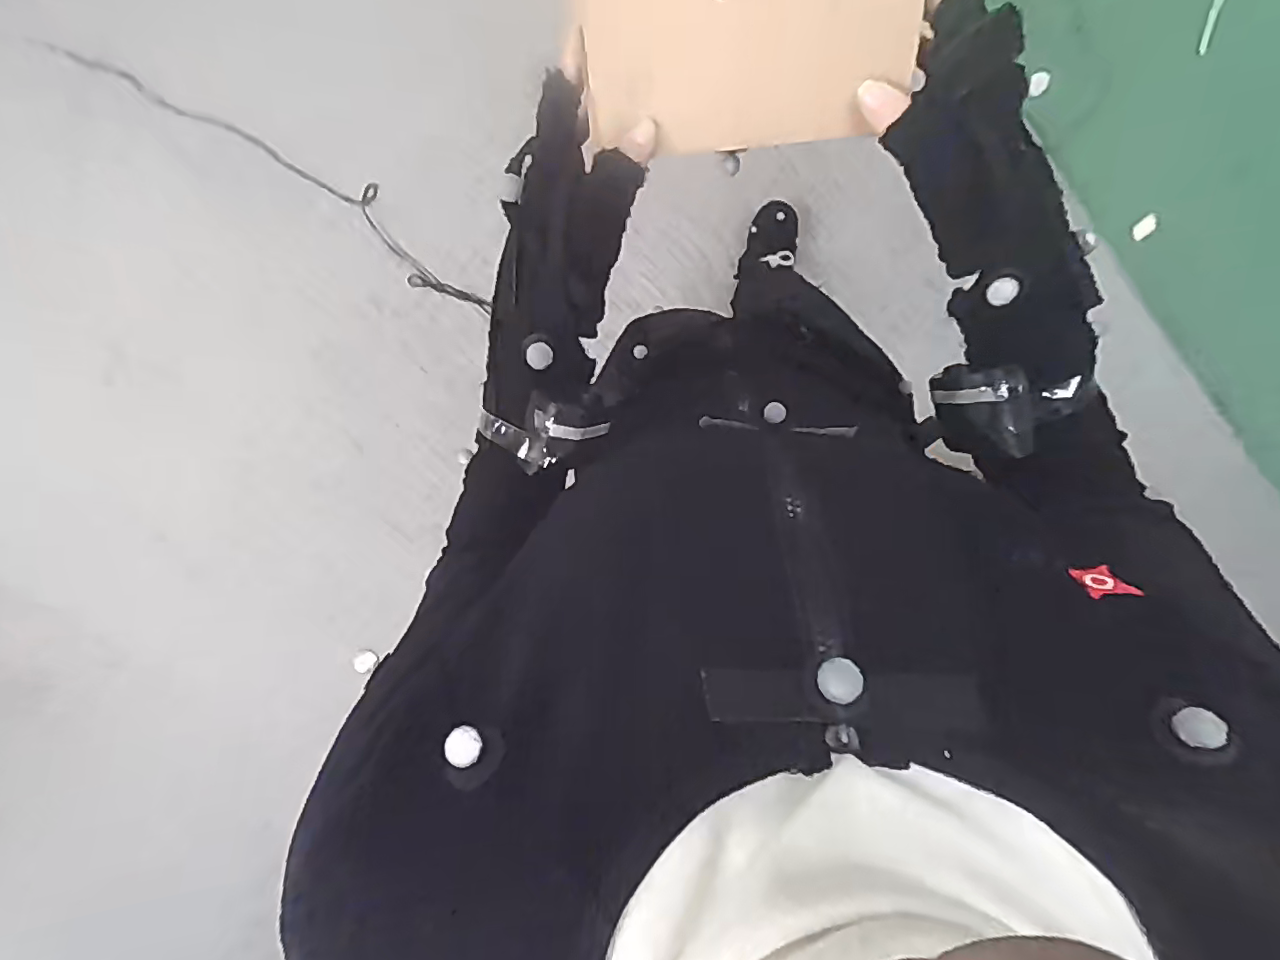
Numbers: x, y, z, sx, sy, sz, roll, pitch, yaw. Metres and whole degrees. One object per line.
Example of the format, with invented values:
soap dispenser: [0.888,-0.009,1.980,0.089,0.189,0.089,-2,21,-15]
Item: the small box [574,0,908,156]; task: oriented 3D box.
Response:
small box: [0.050,-0.307,0.339,0.179,0.176,0.168,-6,121,2]
